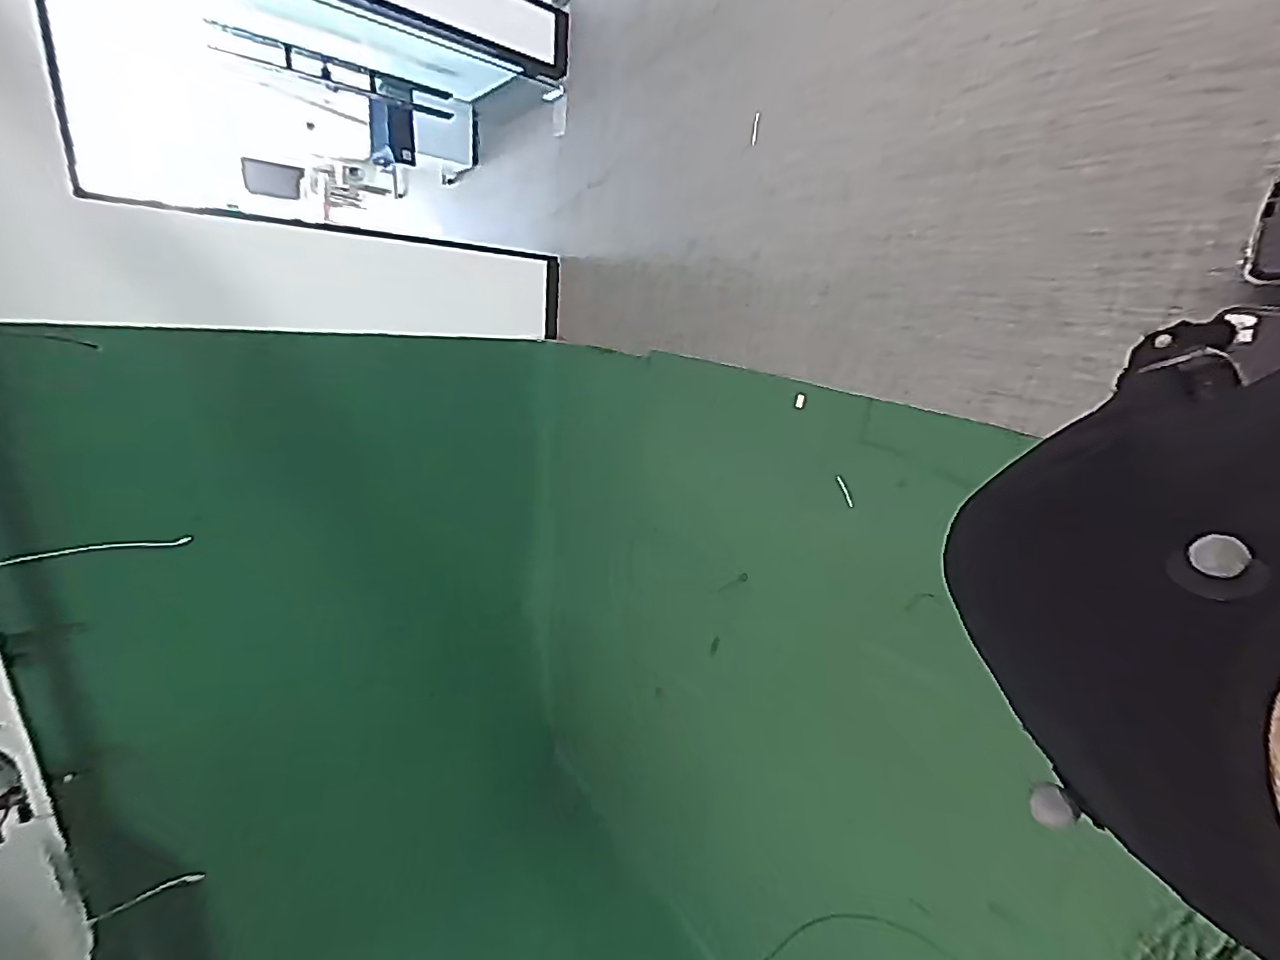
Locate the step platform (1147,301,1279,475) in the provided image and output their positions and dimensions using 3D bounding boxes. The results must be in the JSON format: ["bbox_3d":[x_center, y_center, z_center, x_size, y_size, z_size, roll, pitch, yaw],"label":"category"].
[{"bbox_3d":[1.216,-0.088,0.775,0.684,0.204,0.286,25,117,46],"label":"step platform"}]
